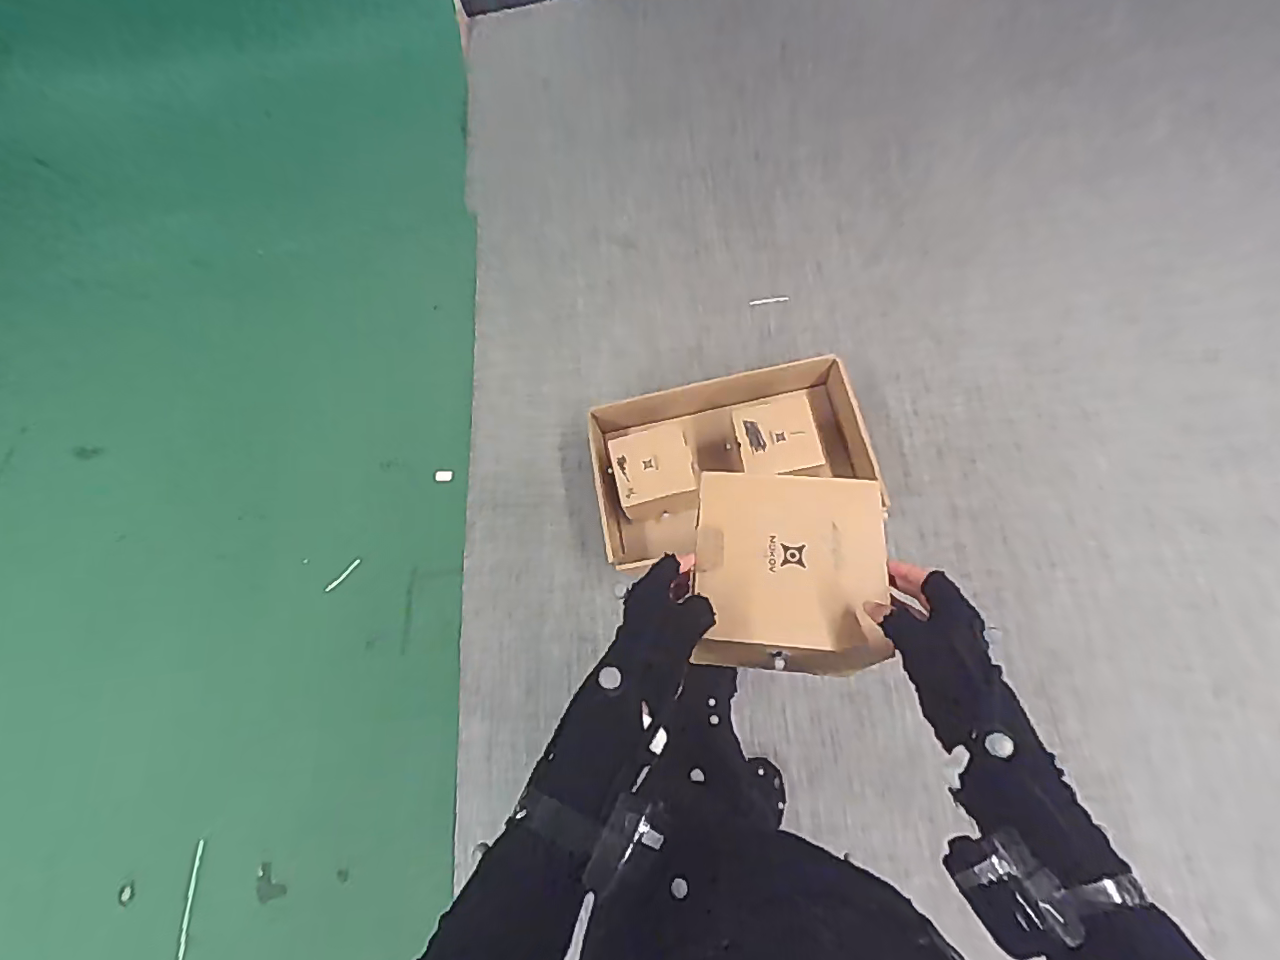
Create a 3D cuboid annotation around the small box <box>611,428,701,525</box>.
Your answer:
[{"bbox_3d":[0.041,-0.003,1.290,0.179,0.176,0.168,-14,71,2],"label":"small box"}]

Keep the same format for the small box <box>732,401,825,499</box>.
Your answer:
[{"bbox_3d":[0.316,-0.062,1.269,0.179,0.176,0.168,-10,72,5],"label":"small box"}]
